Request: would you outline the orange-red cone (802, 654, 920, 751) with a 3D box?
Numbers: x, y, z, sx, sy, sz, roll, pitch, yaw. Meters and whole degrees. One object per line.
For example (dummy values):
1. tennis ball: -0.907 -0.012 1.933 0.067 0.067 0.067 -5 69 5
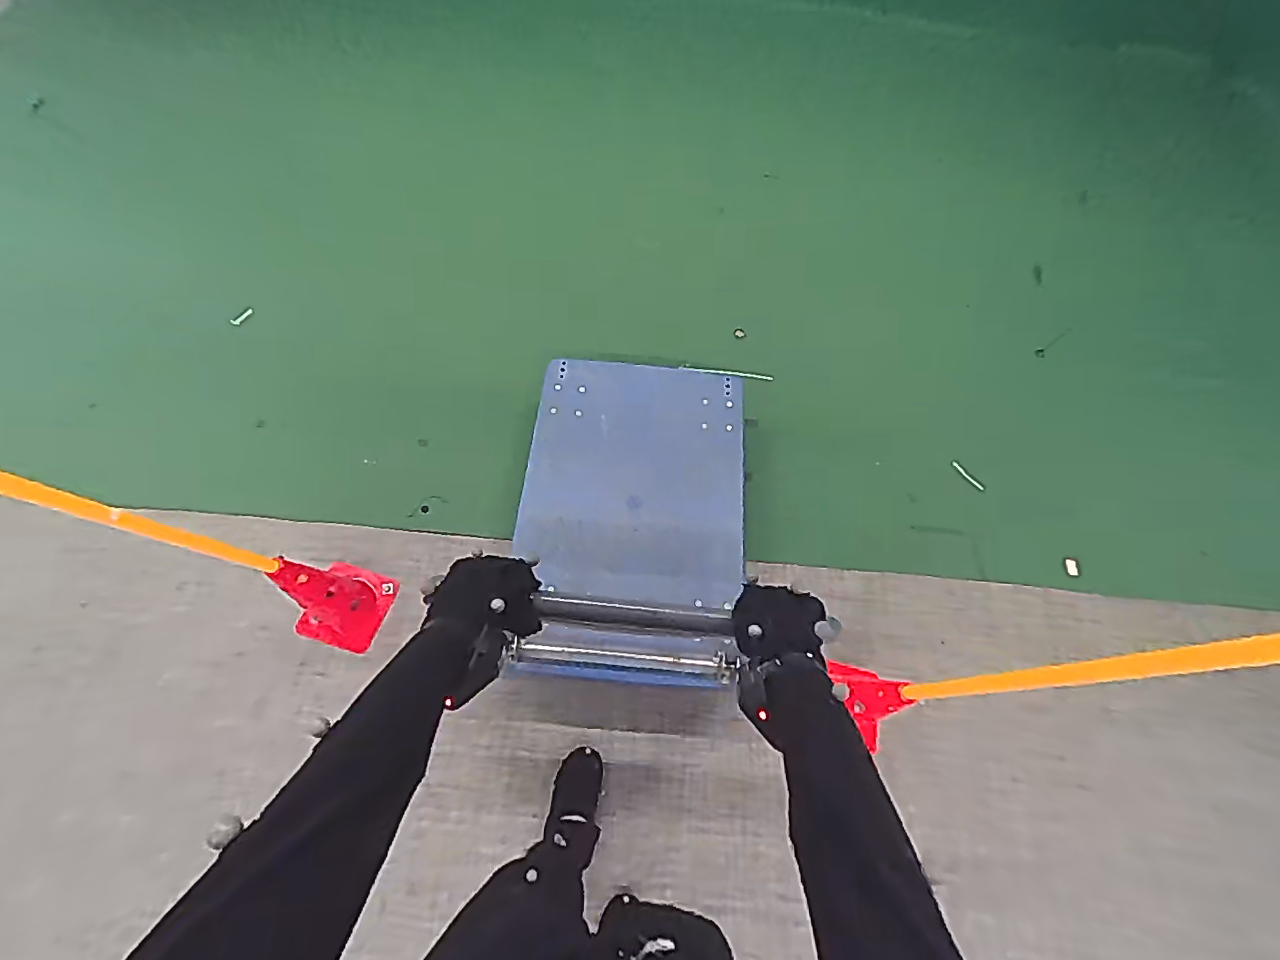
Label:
1. orange-red cone: 0.524 0.486 1.213 0.198 0.360 0.199 15 65 4
